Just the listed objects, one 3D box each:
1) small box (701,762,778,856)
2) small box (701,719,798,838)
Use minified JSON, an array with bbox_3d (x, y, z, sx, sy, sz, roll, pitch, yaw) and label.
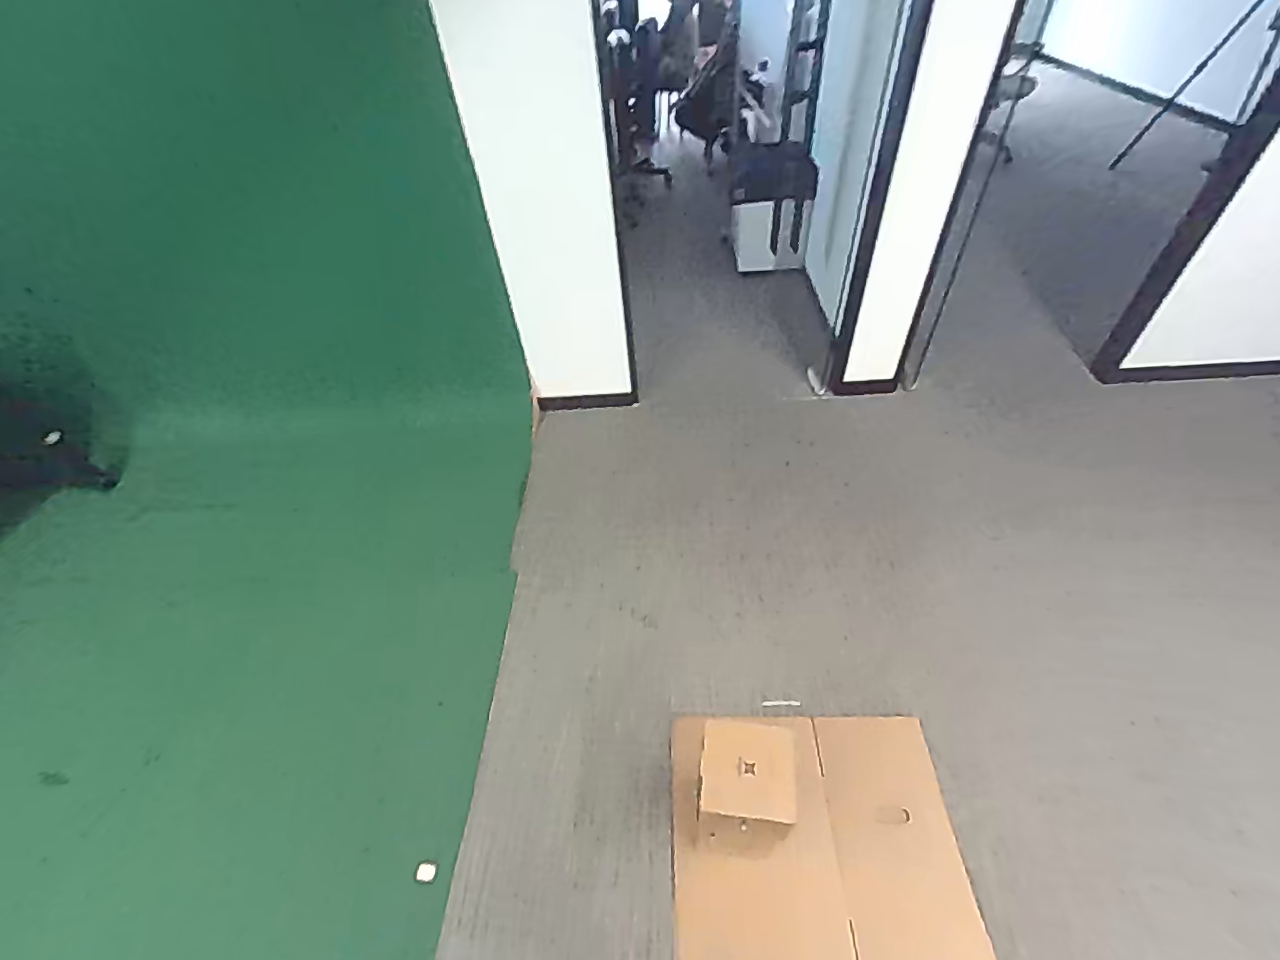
[{"bbox_3d":[0.242,0.814,1.338,0.179,0.176,0.168,2,47,7],"label":"small box"},{"bbox_3d":[0.217,0.603,1.088,0.179,0.176,0.168,3,48,9],"label":"small box"}]
